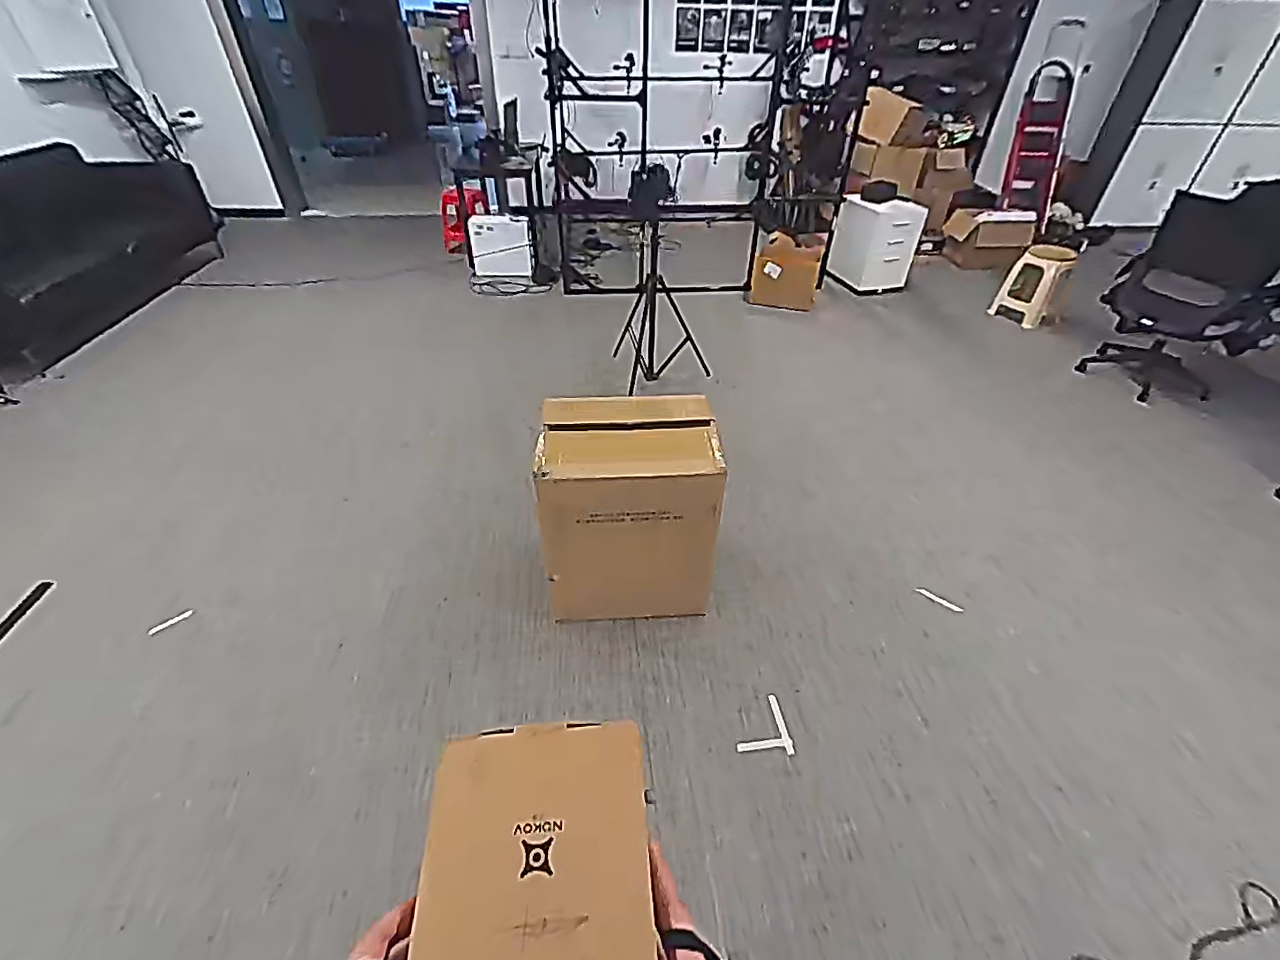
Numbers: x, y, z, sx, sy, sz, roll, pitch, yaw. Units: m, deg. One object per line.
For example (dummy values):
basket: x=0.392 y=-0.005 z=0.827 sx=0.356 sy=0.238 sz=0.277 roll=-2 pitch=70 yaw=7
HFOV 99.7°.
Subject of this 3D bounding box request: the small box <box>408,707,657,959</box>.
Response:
small box: x=-0.078 y=0.318 z=0.464 sx=0.168 sy=0.176 sz=0.179 roll=-3 pitch=48 yaw=-4
